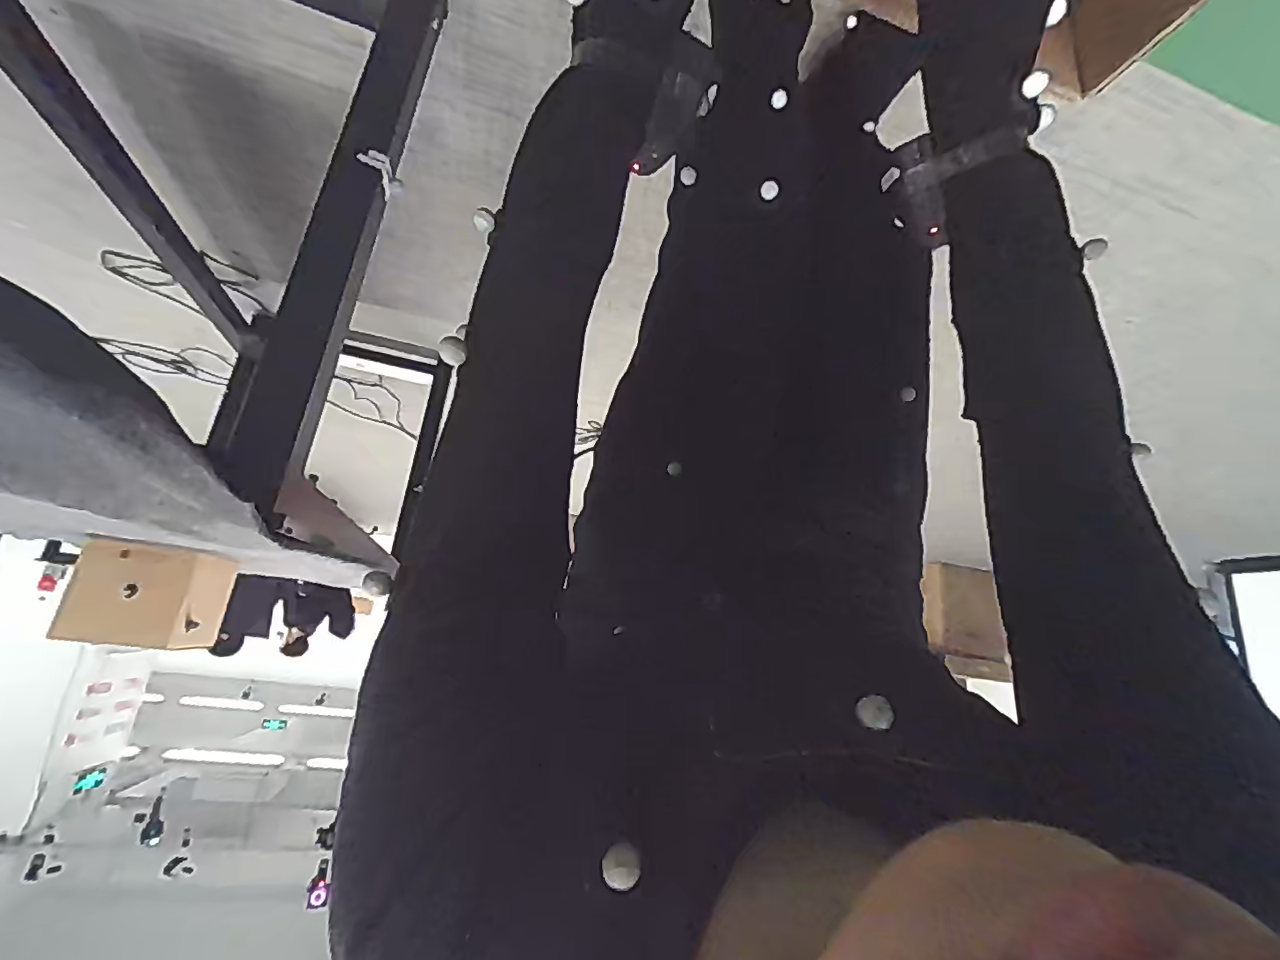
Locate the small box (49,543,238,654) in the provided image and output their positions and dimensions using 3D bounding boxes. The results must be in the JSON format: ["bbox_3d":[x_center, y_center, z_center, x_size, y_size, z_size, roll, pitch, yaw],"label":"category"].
[{"bbox_3d":[-0.862,0.212,0.961,0.168,0.176,0.179,11,163,-13],"label":"small box"}]
